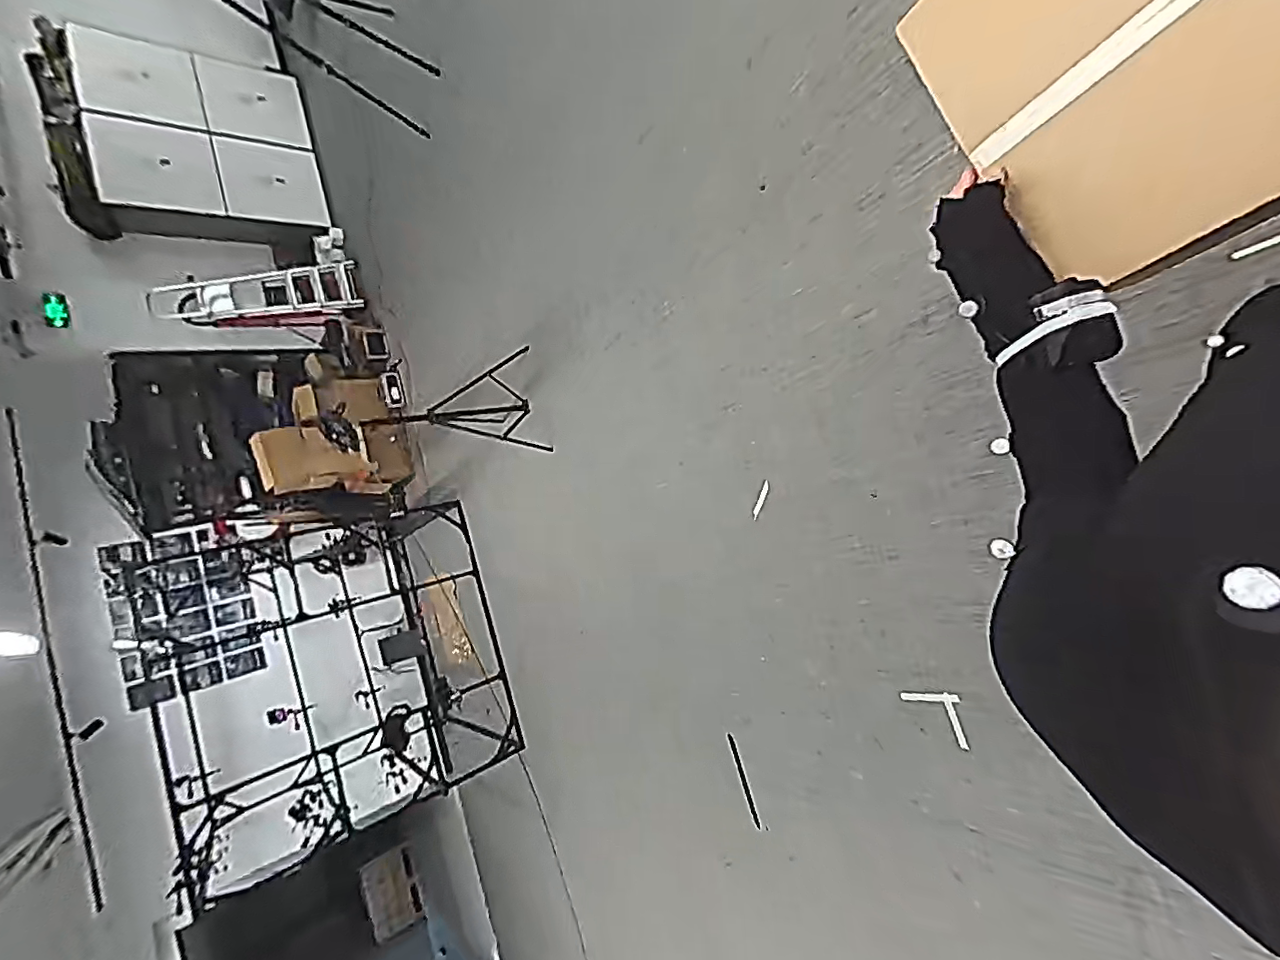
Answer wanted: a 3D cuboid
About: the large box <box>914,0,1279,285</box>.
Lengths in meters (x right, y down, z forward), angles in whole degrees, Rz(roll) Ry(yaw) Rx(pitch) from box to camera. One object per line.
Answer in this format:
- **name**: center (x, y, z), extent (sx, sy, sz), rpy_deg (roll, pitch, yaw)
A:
- **large box**: center (0.531, -0.410, 0.430), extent (0.408, 0.320, 0.320), rpy_deg (-32, 80, 54)
